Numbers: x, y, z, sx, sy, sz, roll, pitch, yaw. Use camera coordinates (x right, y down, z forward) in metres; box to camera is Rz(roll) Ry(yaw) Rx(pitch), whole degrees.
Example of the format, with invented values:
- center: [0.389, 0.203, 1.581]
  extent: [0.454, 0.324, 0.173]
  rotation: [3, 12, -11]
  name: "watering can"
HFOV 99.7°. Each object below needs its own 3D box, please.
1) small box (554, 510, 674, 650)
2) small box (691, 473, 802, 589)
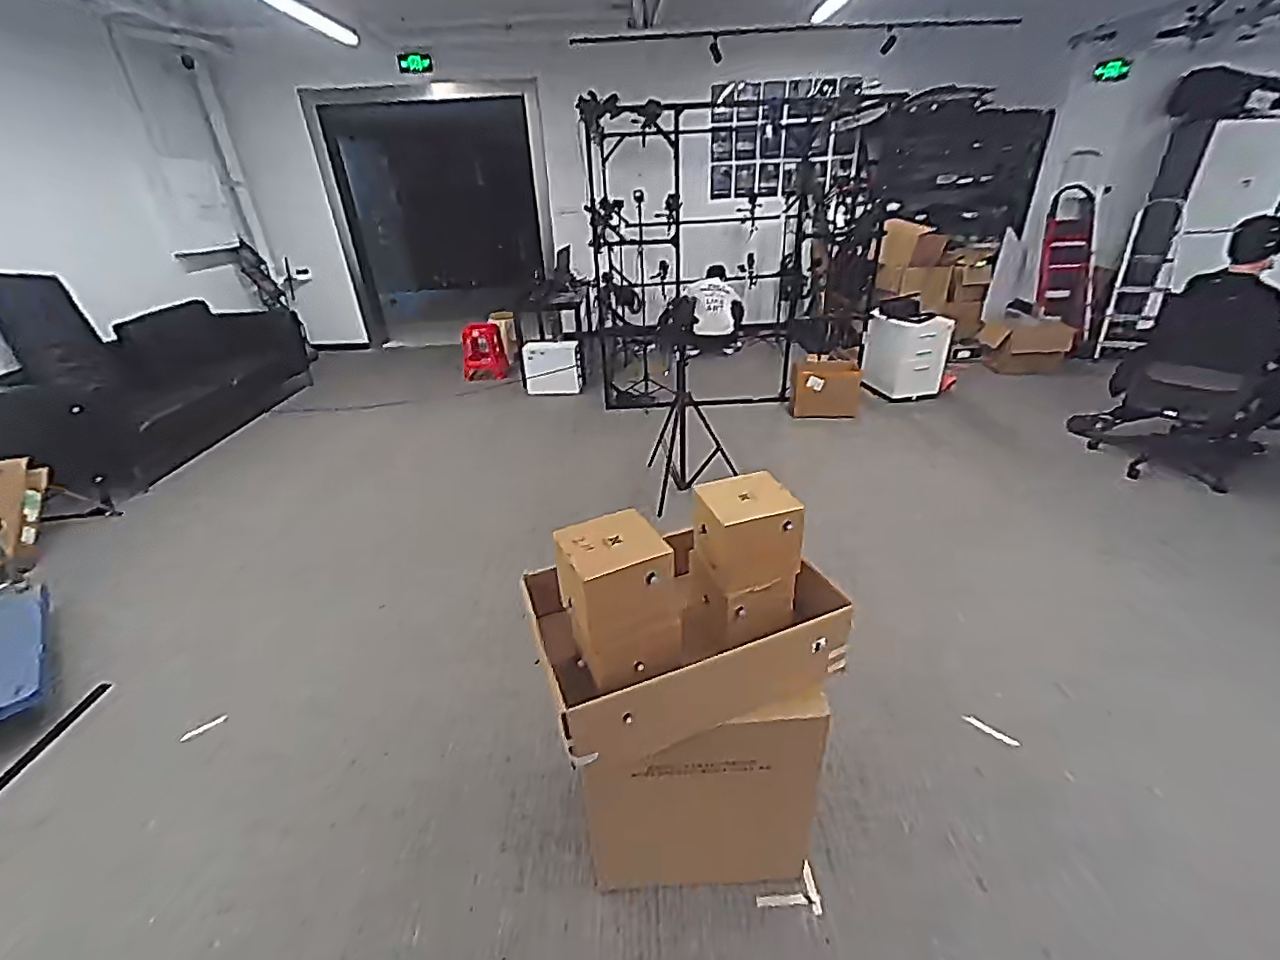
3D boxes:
- center: [-0.049, 0.187, 1.029]
  extent: [0.179, 0.176, 0.168]
  rotation: [-16, 32, -21]
  name: "small box"
- center: [0.220, 0.107, 1.145]
  extent: [0.179, 0.176, 0.168]
  rotation: [-12, 30, -14]
  name: "small box"
